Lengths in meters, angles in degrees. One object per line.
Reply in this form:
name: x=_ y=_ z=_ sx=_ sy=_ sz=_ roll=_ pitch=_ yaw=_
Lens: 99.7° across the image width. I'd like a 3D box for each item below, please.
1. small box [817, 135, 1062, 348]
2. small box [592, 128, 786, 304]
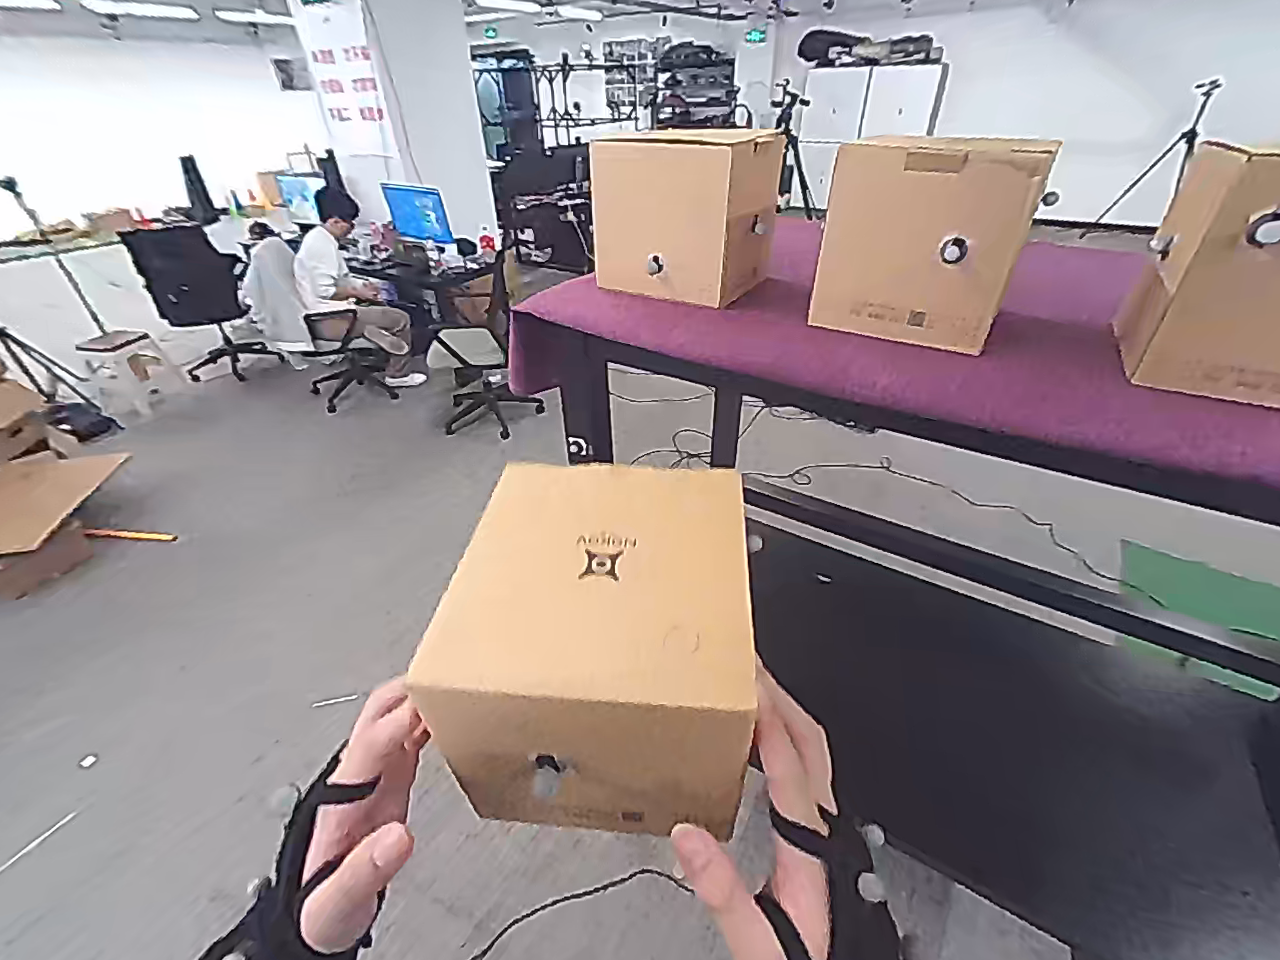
small box: x=0.293 y=-0.247 z=0.550 sx=0.168 sy=0.176 sz=0.179 roll=22 pitch=40 yaw=28
small box: x=0.060 y=-0.328 z=0.668 sx=0.179 sy=0.176 sz=0.168 roll=19 pitch=39 yaw=24
